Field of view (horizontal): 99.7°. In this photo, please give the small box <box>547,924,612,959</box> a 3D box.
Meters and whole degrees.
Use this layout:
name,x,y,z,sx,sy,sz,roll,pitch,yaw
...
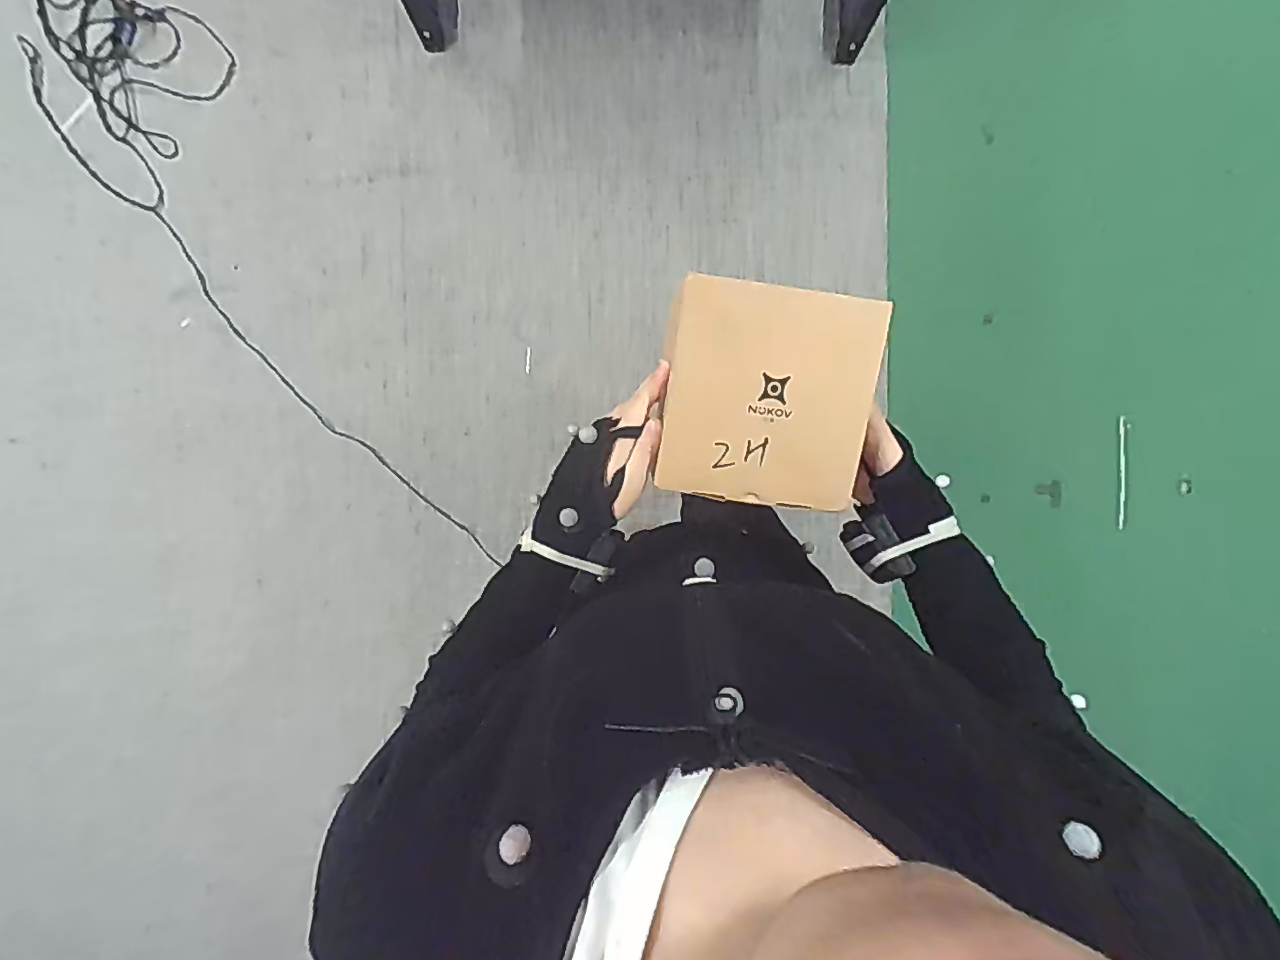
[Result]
name,x,y,z,sx,sy,sz,roll,pitch,yaw
small box,-0.160,1.323,1.423,0.168,0.176,0.179,-1,90,-2
